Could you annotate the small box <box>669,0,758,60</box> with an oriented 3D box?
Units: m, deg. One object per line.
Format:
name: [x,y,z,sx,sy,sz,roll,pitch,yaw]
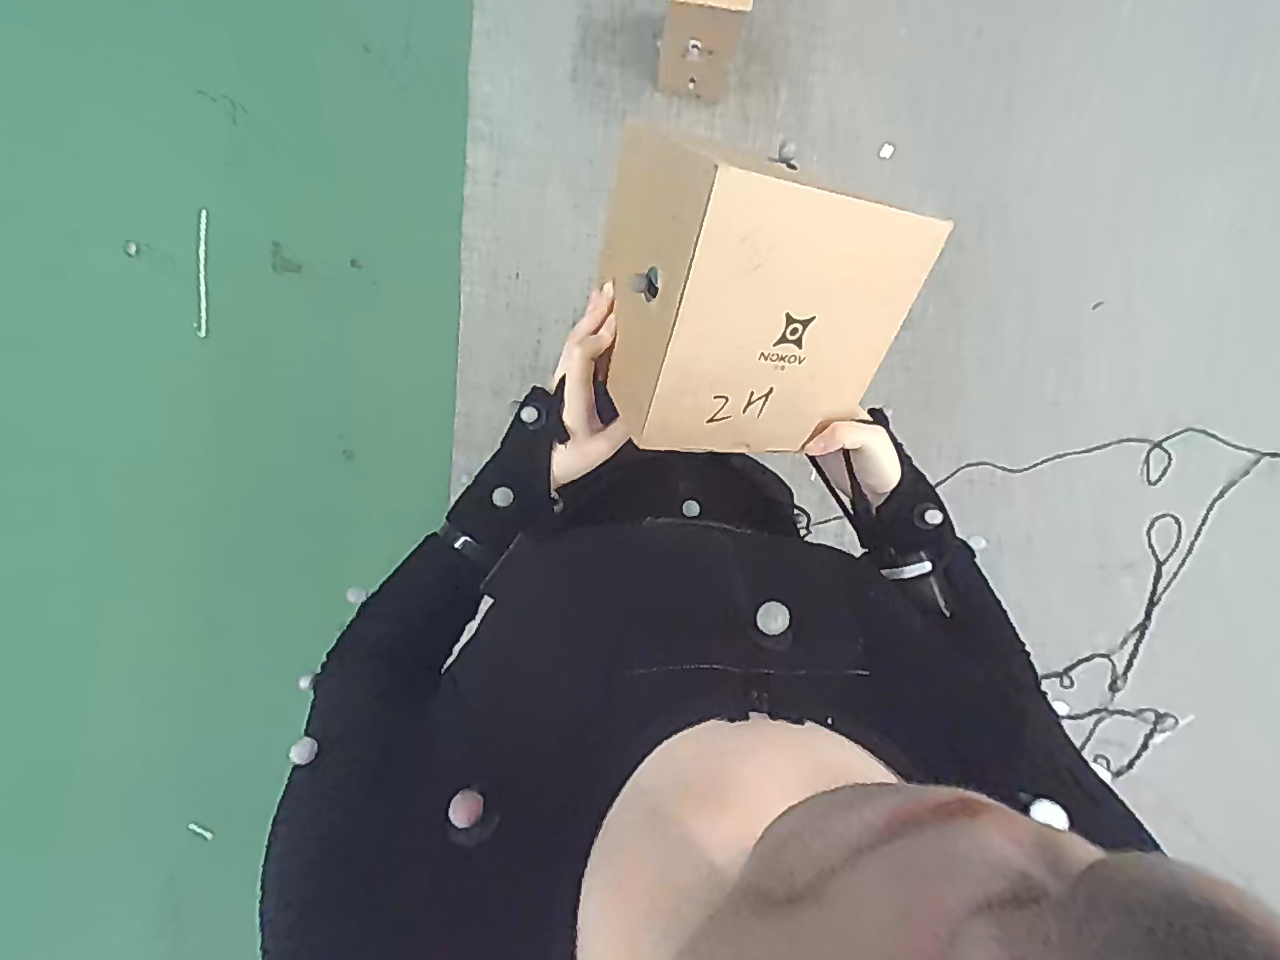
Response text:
small box: [0.150,-0.994,1.080,0.168,0.176,0.179,7,99,0]

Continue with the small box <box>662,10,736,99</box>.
small box: [0.146,-1.020,1.241,0.168,0.176,0.179,10,99,-2]
